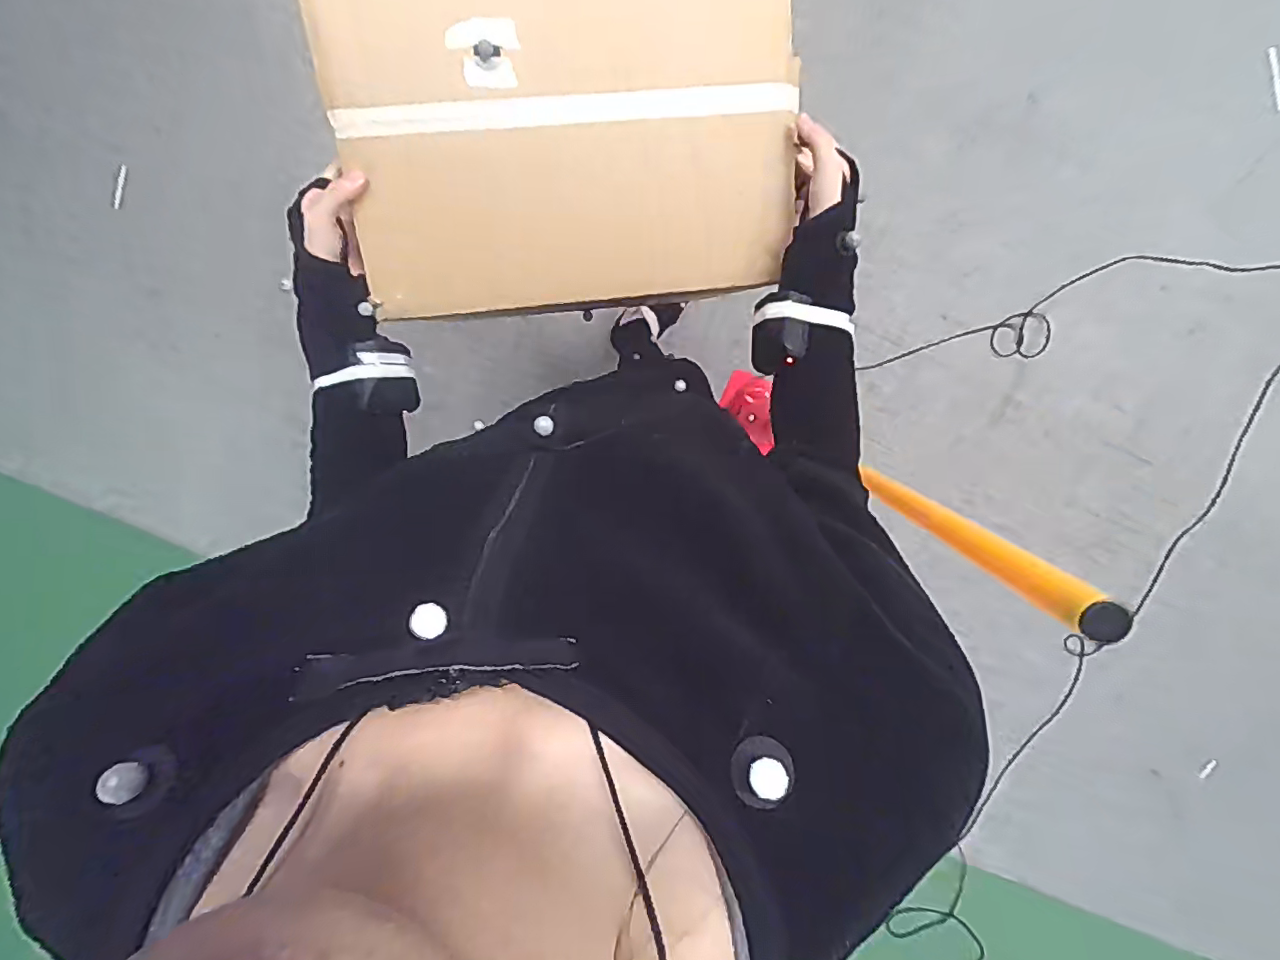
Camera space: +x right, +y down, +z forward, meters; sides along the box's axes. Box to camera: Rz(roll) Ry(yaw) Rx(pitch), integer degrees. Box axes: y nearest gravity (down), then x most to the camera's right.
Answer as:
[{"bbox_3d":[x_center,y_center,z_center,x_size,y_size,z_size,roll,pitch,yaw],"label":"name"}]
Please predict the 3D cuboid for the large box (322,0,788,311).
[{"bbox_3d":[-0.075,-0.376,0.629,0.408,0.320,0.320,-7,107,-6],"label":"large box"}]
